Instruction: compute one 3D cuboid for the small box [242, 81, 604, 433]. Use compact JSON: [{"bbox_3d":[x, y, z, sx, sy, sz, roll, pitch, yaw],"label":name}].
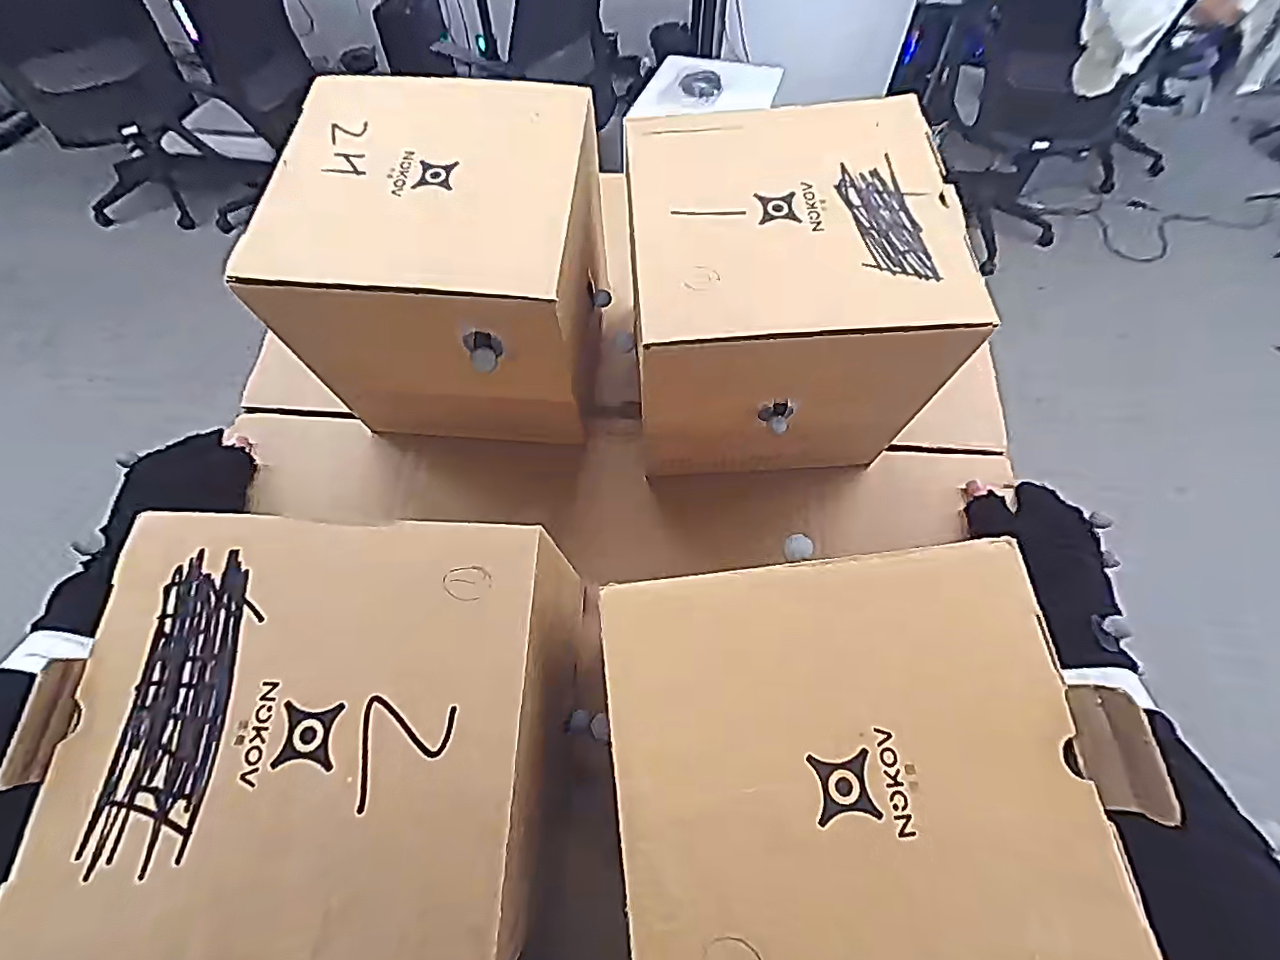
[{"bbox_3d":[-0.123,-0.146,0.394,0.179,0.176,0.168,5,67,3],"label":"small box"}]
